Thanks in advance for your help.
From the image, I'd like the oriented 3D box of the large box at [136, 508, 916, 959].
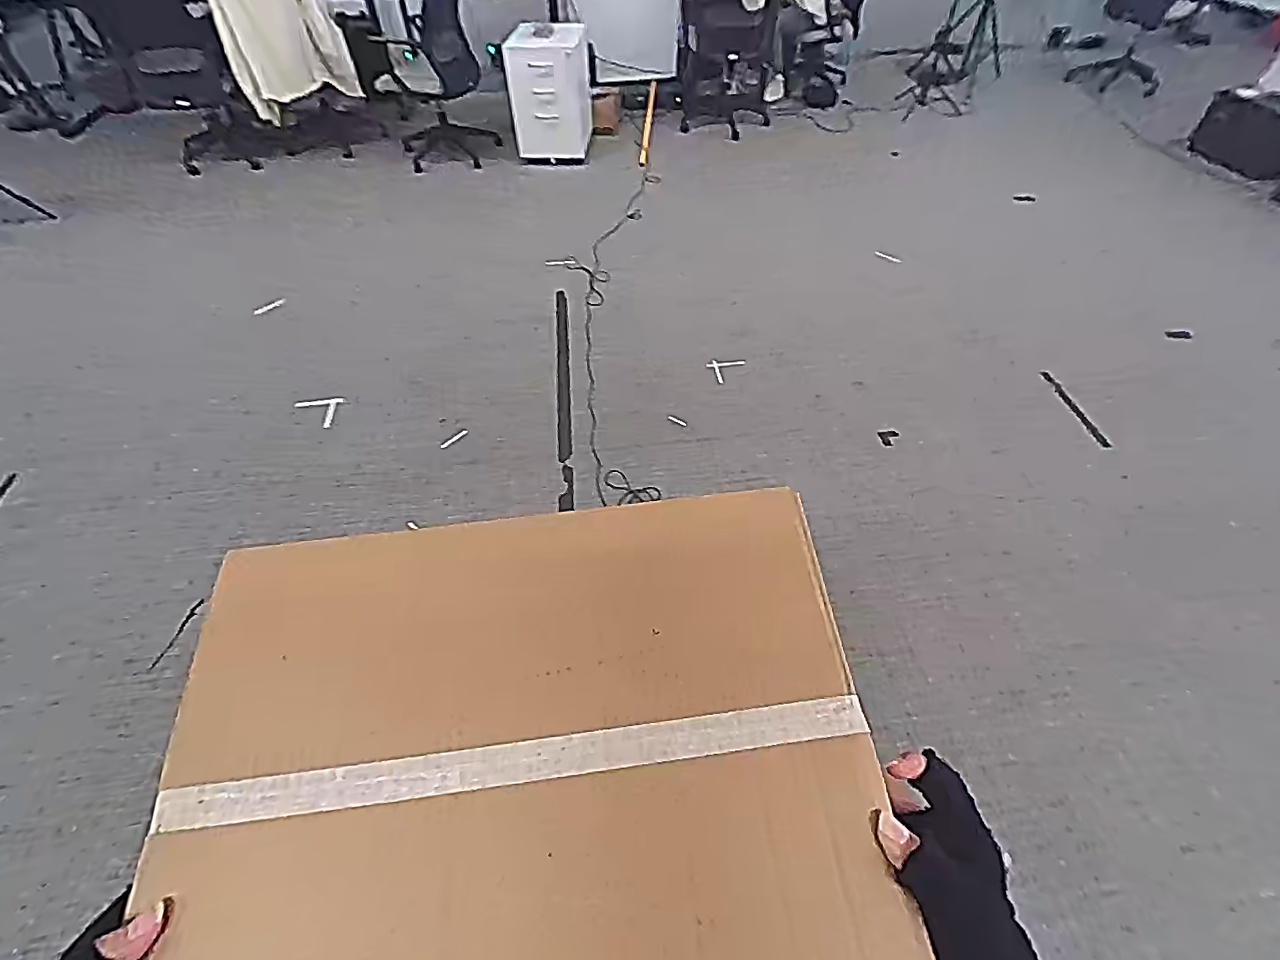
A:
[{"bbox_3d":[-0.065,0.247,0.448,0.408,0.320,0.320,-6,60,-2],"label":"large box"}]
